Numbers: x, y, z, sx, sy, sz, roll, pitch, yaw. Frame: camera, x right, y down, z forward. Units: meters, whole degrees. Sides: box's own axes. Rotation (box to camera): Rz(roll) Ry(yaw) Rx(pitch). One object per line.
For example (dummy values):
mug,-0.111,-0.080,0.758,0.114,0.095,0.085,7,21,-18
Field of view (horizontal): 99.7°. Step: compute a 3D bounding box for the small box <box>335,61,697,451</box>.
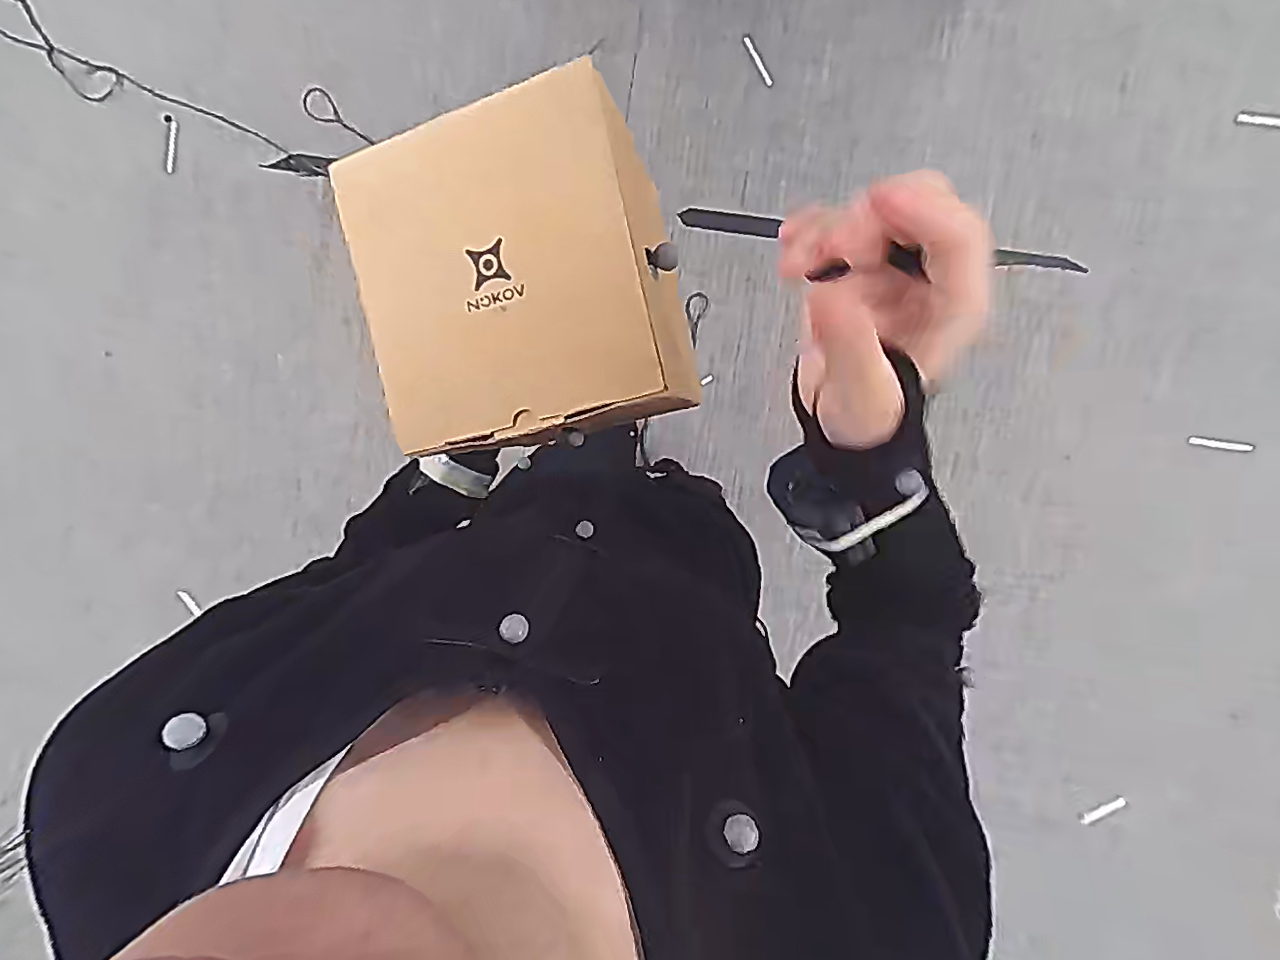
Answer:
small box,-0.063,-0.123,0.375,0.168,0.176,0.179,-12,94,14
